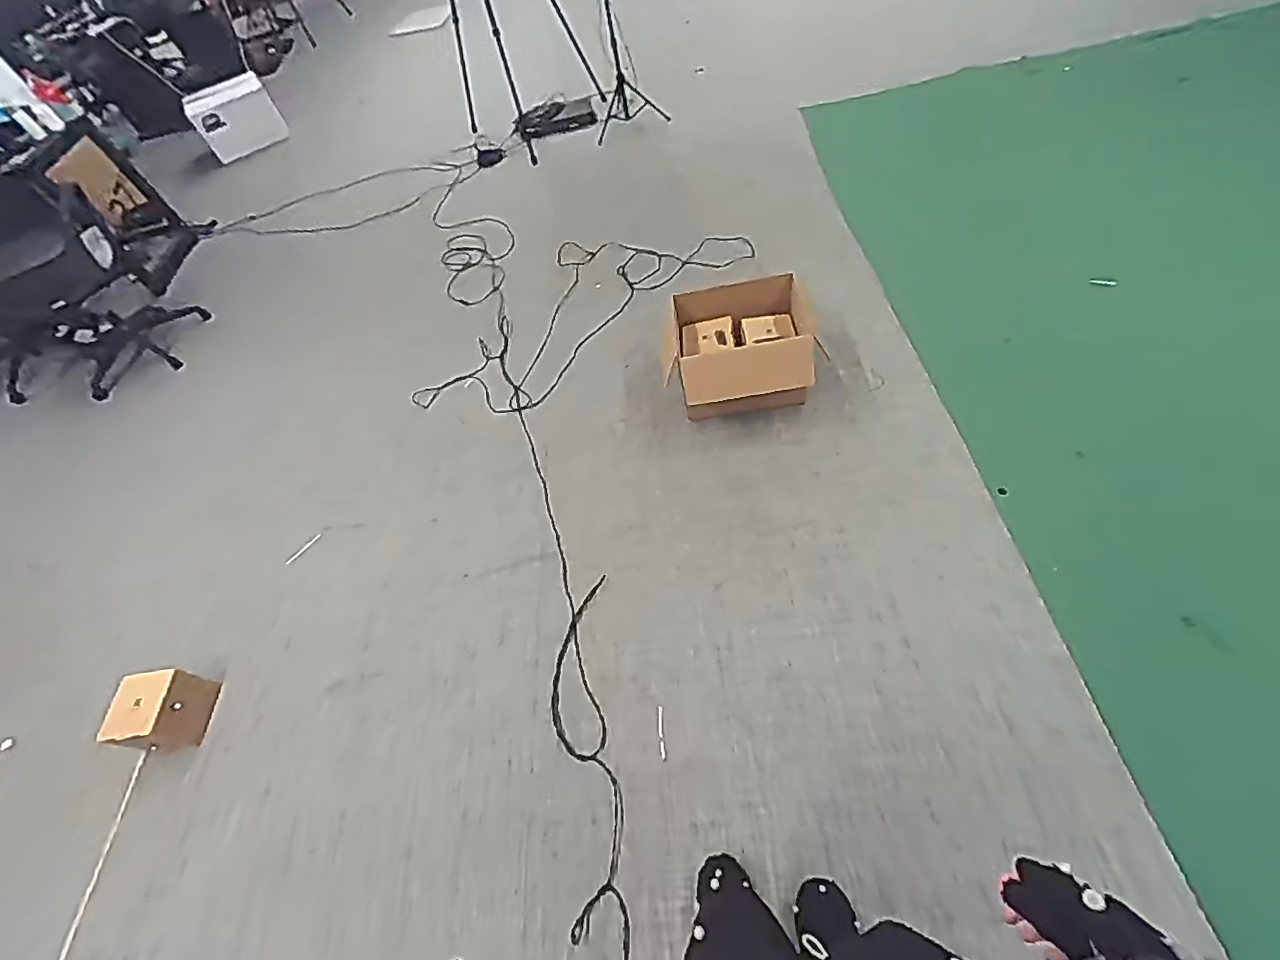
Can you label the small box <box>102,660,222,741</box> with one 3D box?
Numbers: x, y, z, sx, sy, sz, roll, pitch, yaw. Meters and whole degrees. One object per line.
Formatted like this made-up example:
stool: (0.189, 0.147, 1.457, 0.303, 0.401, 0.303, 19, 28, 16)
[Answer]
small box: (-1.357, 0.636, 1.554, 0.168, 0.176, 0.179, -9, 57, 6)
